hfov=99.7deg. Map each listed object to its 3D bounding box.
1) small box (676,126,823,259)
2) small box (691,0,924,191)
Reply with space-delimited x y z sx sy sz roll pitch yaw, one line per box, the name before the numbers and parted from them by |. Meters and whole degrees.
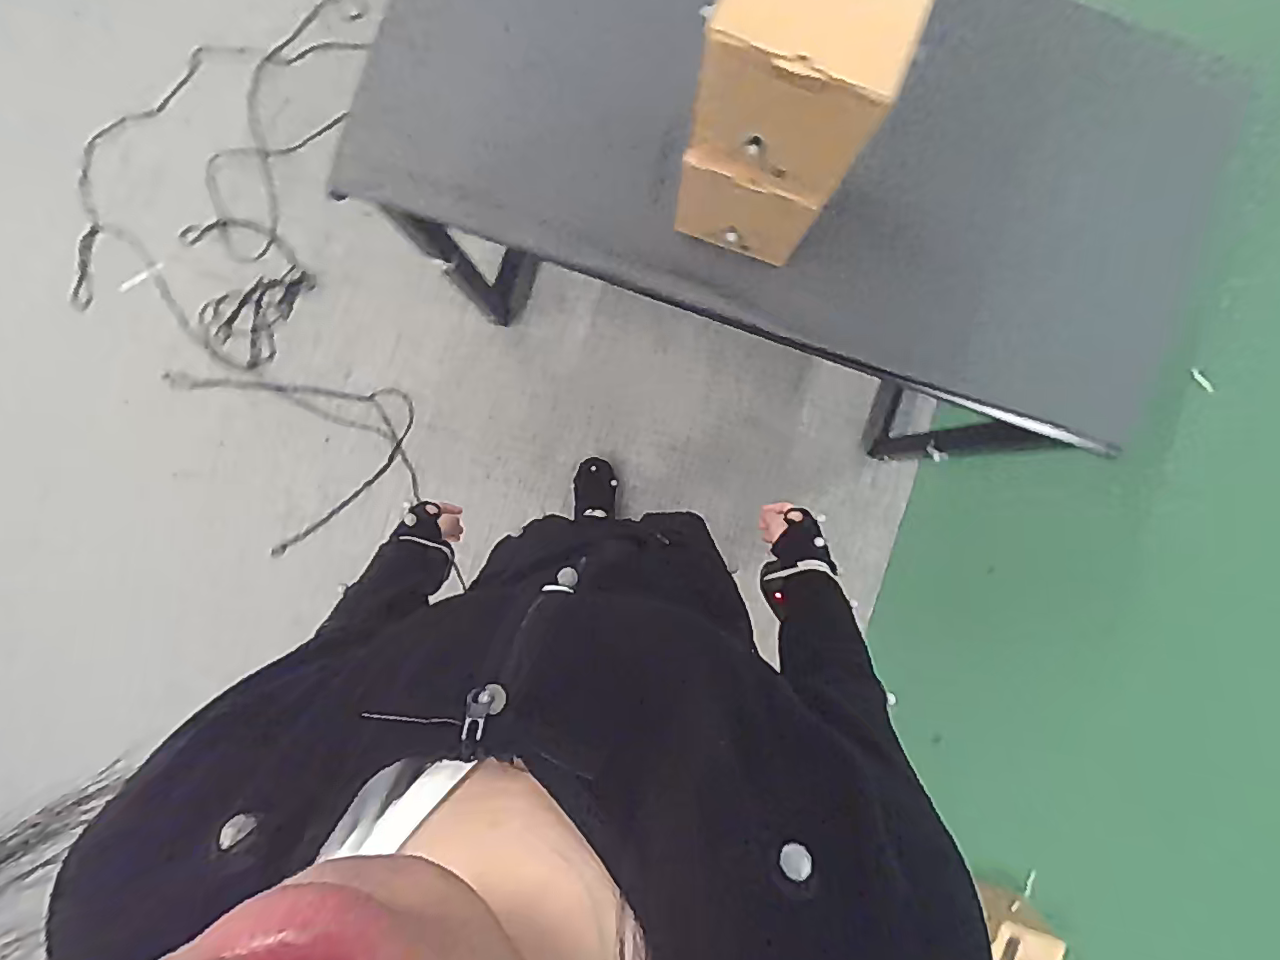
small box | 0.149 -0.416 0.683 0.168 0.176 0.179 19 90 0
small box | 0.155 -0.424 0.521 0.168 0.176 0.179 20 90 -1
